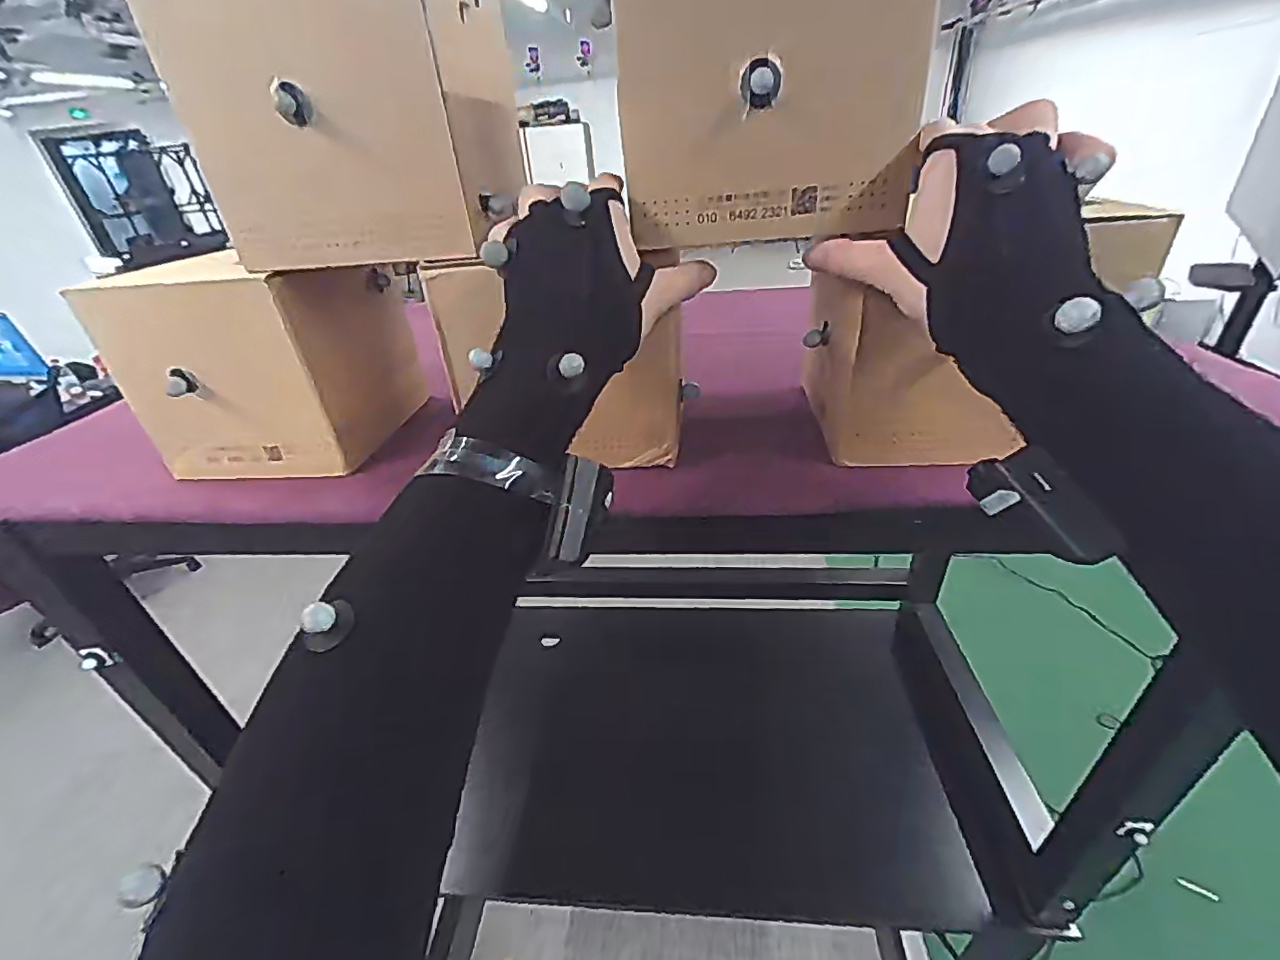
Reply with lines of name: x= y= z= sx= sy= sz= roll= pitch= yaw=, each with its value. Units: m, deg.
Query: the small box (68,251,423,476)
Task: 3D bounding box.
small box: x=-0.325 y=-0.112 z=0.497 sx=0.168 sy=0.176 sz=0.179 roll=-1 pitch=31 yaw=6

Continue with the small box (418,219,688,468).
small box: x=-0.053 y=-0.119 z=0.467 sx=0.179 sy=0.176 sz=0.168 roll=-1 pitch=32 yaw=8

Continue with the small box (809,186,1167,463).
small box: x=0.236 y=-0.123 z=0.430 sx=0.179 sy=0.176 sz=0.168 roll=-3 pitch=33 yaw=7

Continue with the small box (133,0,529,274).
small box: x=-0.194 y=-0.260 z=0.403 sx=0.179 sy=0.176 sz=0.168 roll=-2 pitch=31 yaw=6

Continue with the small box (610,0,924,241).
small box: x=0.076 y=-0.261 z=0.362 sx=0.168 sy=0.176 sz=0.179 roll=-2 pitch=32 yaw=6
